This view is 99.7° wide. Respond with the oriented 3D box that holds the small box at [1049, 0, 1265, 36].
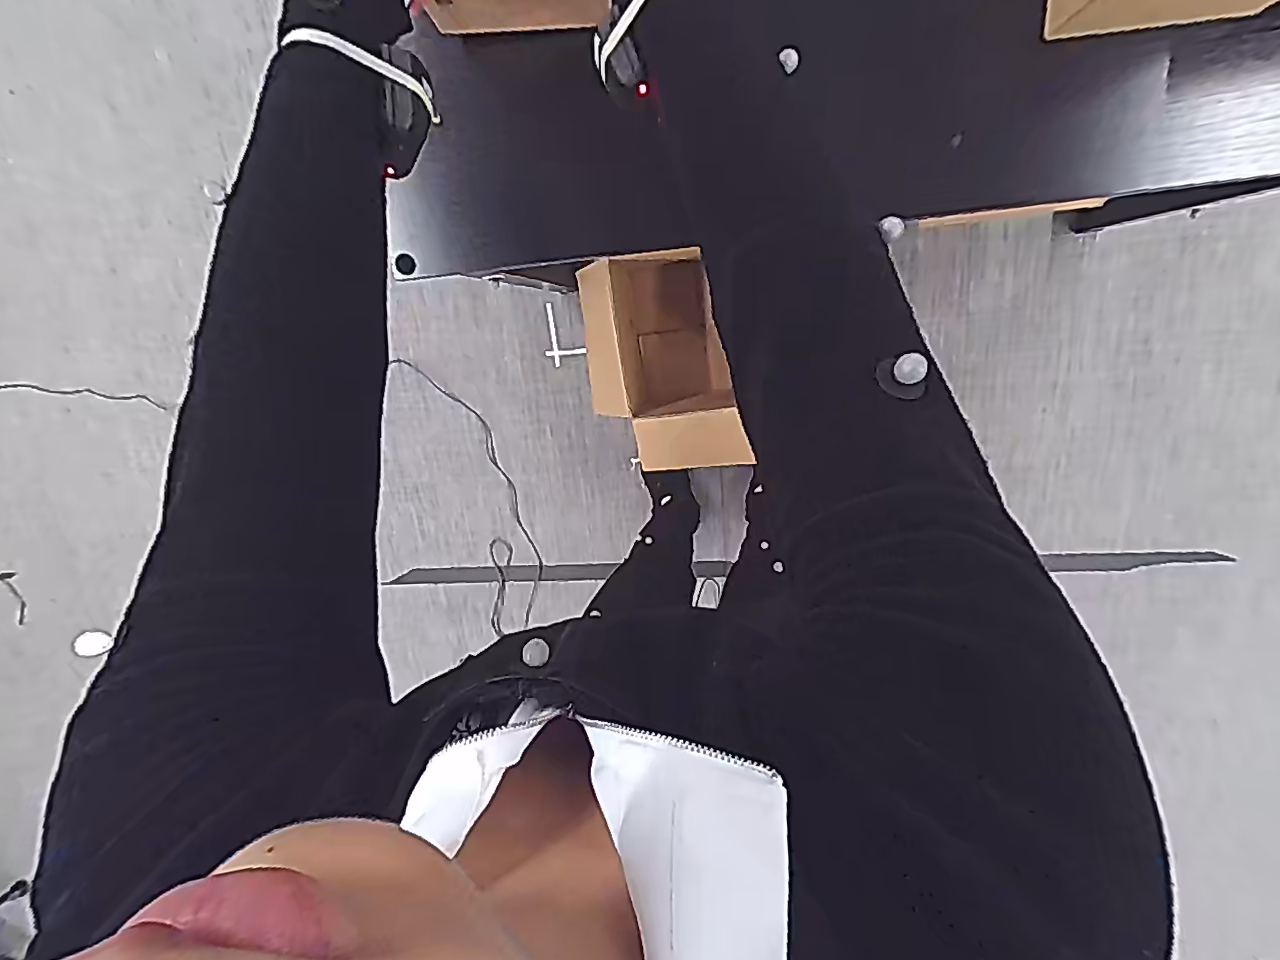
[{"bbox_3d":[0.439,-0.456,0.385,0.179,0.176,0.168,-2,106,6],"label":"small box"}]
